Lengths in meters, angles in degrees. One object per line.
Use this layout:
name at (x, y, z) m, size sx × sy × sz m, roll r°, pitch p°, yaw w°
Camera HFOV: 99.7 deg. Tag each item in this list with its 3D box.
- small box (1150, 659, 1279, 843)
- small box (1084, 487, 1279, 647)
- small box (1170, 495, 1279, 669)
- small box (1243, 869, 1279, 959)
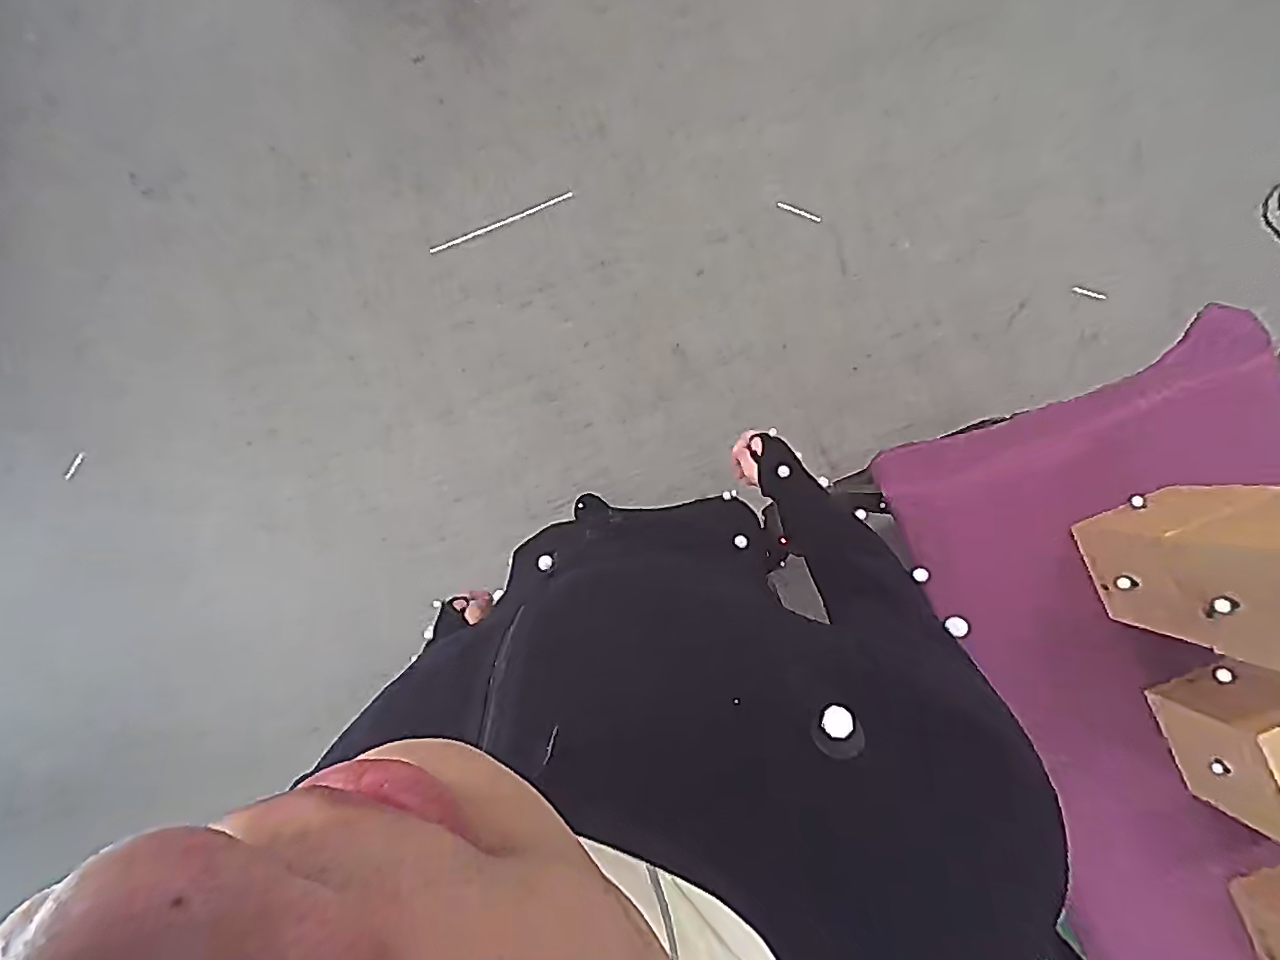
small box at (0.916, 0.388, 0.782) m, size 0.168 × 0.176 × 0.179 m, roll -23°, pitch 87°, yaw 1°
small box at (0.807, 0.118, 0.792) m, size 0.179 × 0.176 × 0.168 m, roll -23°, pitch 89°, yaw 2°
small box at (0.799, 0.117, 0.628) m, size 0.179 × 0.176 × 0.168 m, roll -23°, pitch 87°, yaw 2°
small box at (1.039, 0.684, 0.770) m, size 0.179 × 0.176 × 0.168 m, roll -22°, pitch 88°, yaw 1°
